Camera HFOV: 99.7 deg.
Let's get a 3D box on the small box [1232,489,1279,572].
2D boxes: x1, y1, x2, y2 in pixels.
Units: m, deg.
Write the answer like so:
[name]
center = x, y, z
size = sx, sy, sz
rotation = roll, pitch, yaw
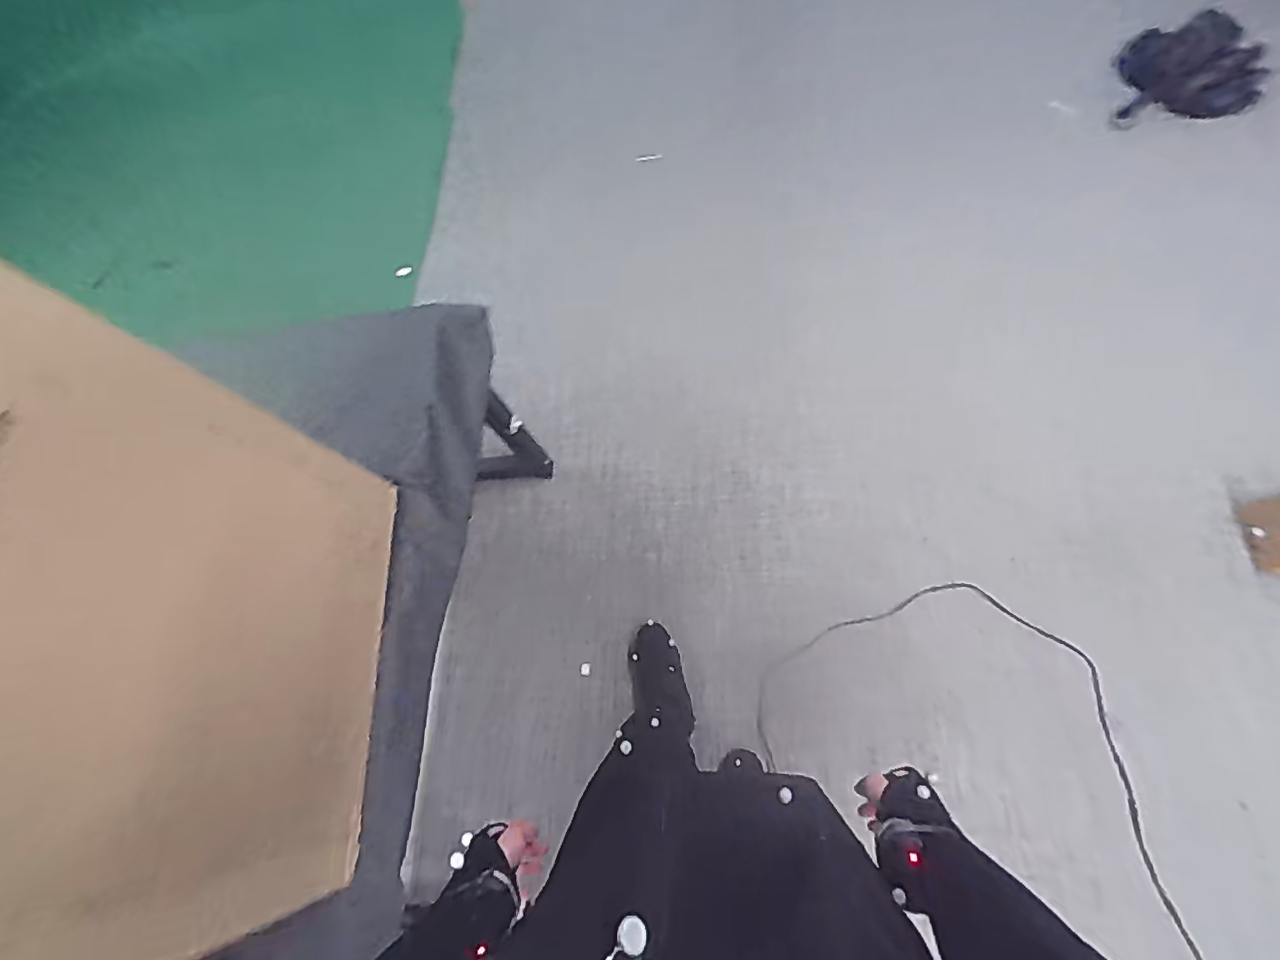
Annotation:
[small box]
center = 1.487, 0.106, 1.186
size = 0.179, 0.176, 0.168
rotation = -1, 68, 13
